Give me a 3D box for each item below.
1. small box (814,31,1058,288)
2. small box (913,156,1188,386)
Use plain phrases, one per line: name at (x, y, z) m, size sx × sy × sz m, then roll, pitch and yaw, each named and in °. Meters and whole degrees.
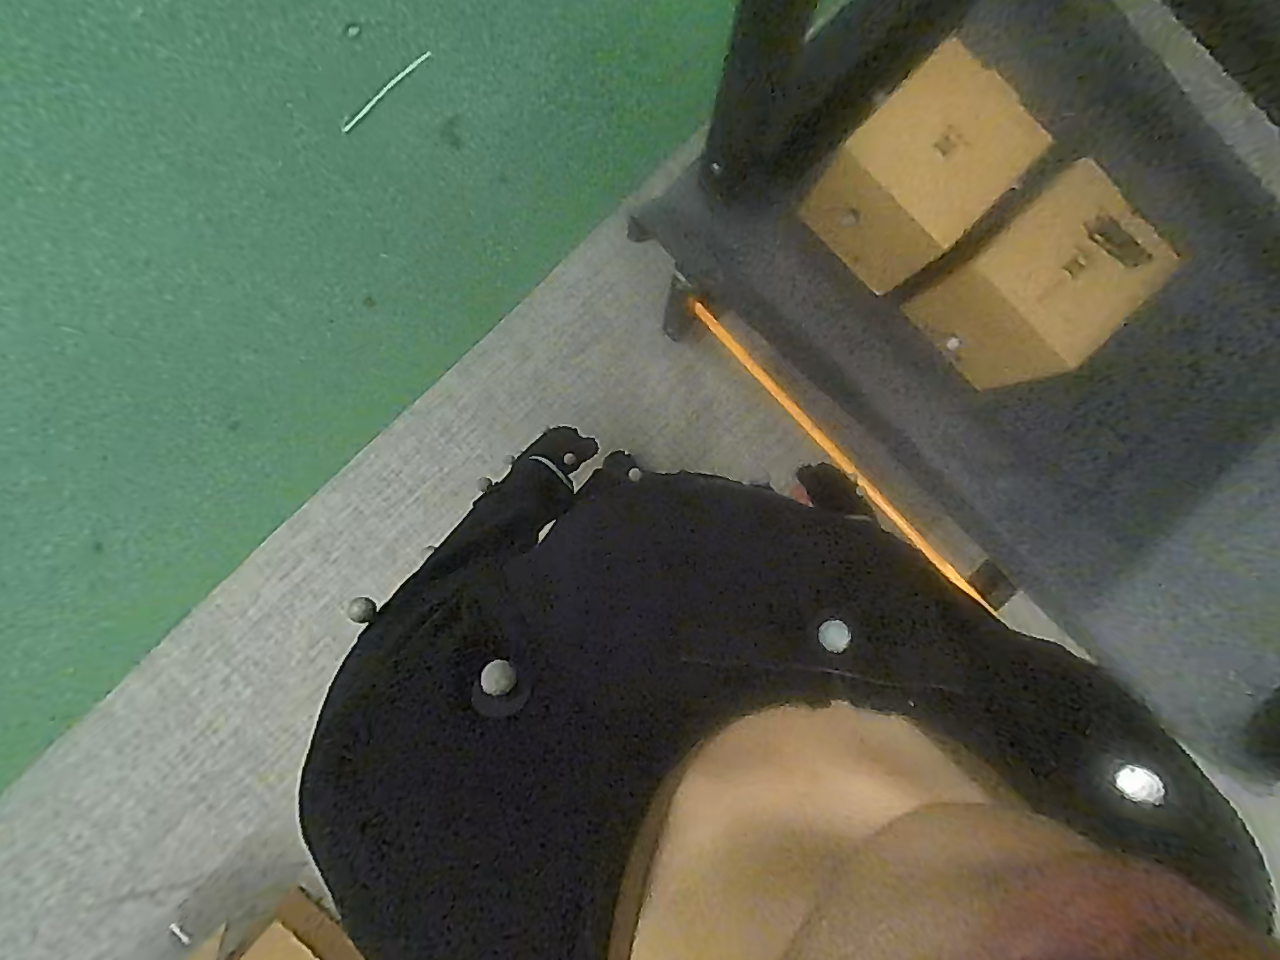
small box at (0.341, -0.373, 0.669) m, size 0.168 × 0.176 × 0.179 m, roll 45°, pitch 89°, yaw -2°
small box at (0.488, -0.242, 0.673) m, size 0.179 × 0.176 × 0.168 m, roll -44°, pitch 91°, yaw 1°
